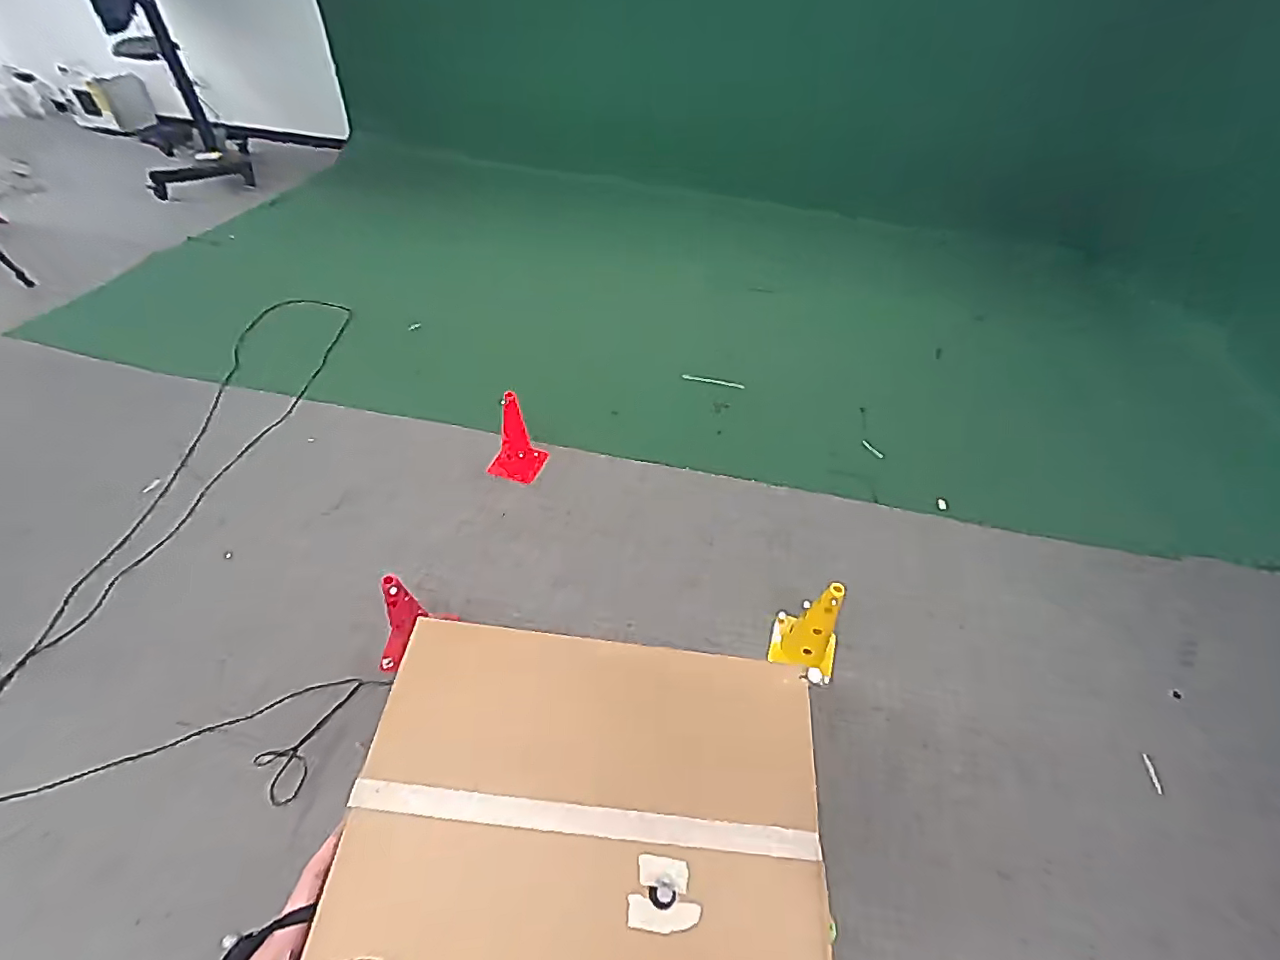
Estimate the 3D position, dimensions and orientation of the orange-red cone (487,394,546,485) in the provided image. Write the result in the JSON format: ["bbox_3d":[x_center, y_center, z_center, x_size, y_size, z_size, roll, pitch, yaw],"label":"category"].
[{"bbox_3d":[-0.501,-0.184,2.119,0.199,0.360,0.198,15,46,11],"label":"orange-red cone"}]

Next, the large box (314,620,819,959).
[{"bbox_3d":[-0.057,0.378,0.605,0.408,0.320,0.320,8,56,-1],"label":"large box"}]
